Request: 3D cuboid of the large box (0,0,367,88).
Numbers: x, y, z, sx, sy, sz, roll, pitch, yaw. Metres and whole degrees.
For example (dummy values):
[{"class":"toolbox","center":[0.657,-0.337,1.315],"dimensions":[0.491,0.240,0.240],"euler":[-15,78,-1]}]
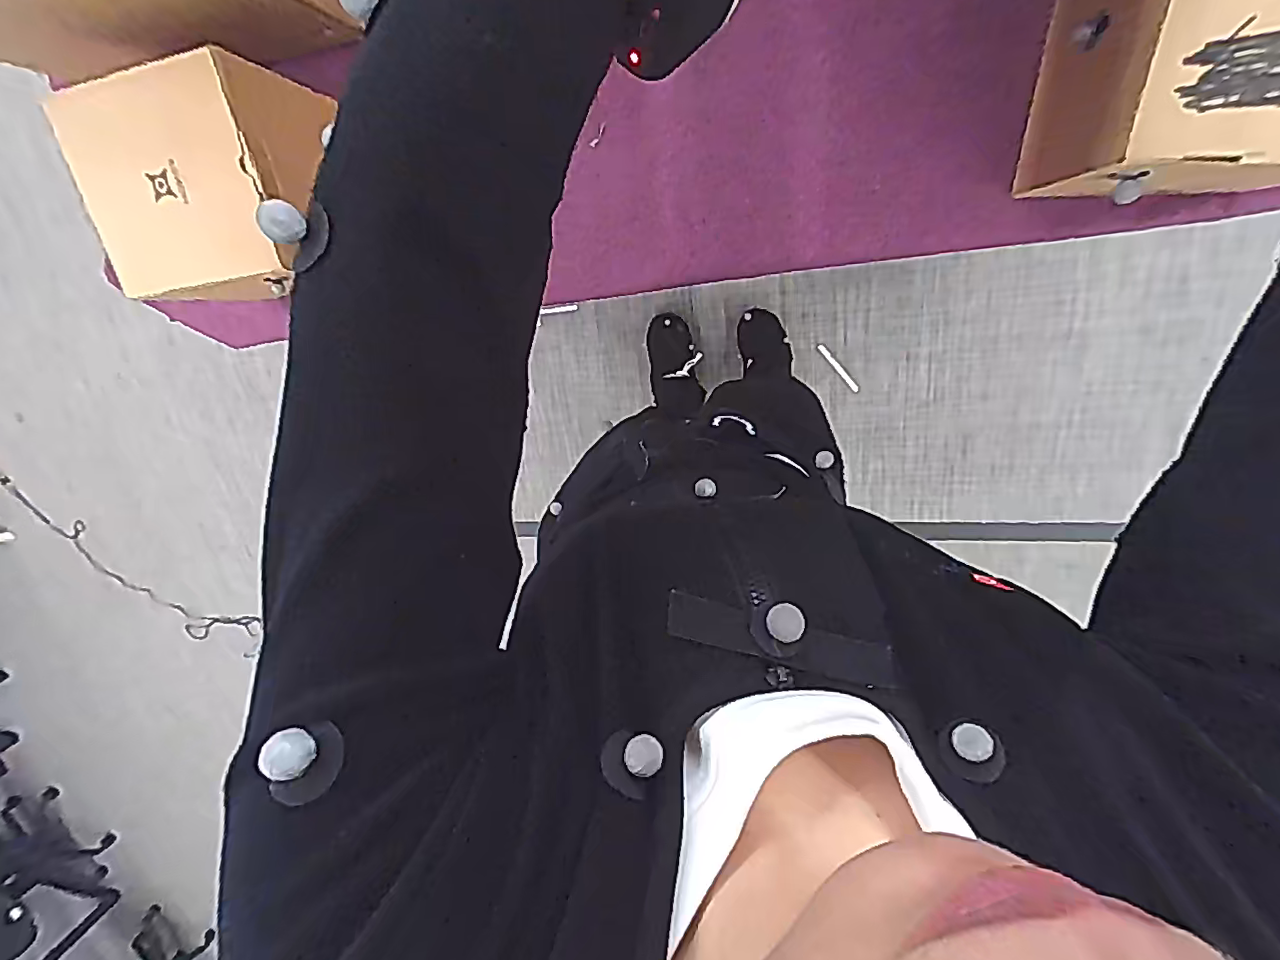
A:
[{"class":"large box","center":[-0.469,-0.568,0.368],"dimensions":[0.320,0.320,0.408],"euler":[-3,113,13]}]
